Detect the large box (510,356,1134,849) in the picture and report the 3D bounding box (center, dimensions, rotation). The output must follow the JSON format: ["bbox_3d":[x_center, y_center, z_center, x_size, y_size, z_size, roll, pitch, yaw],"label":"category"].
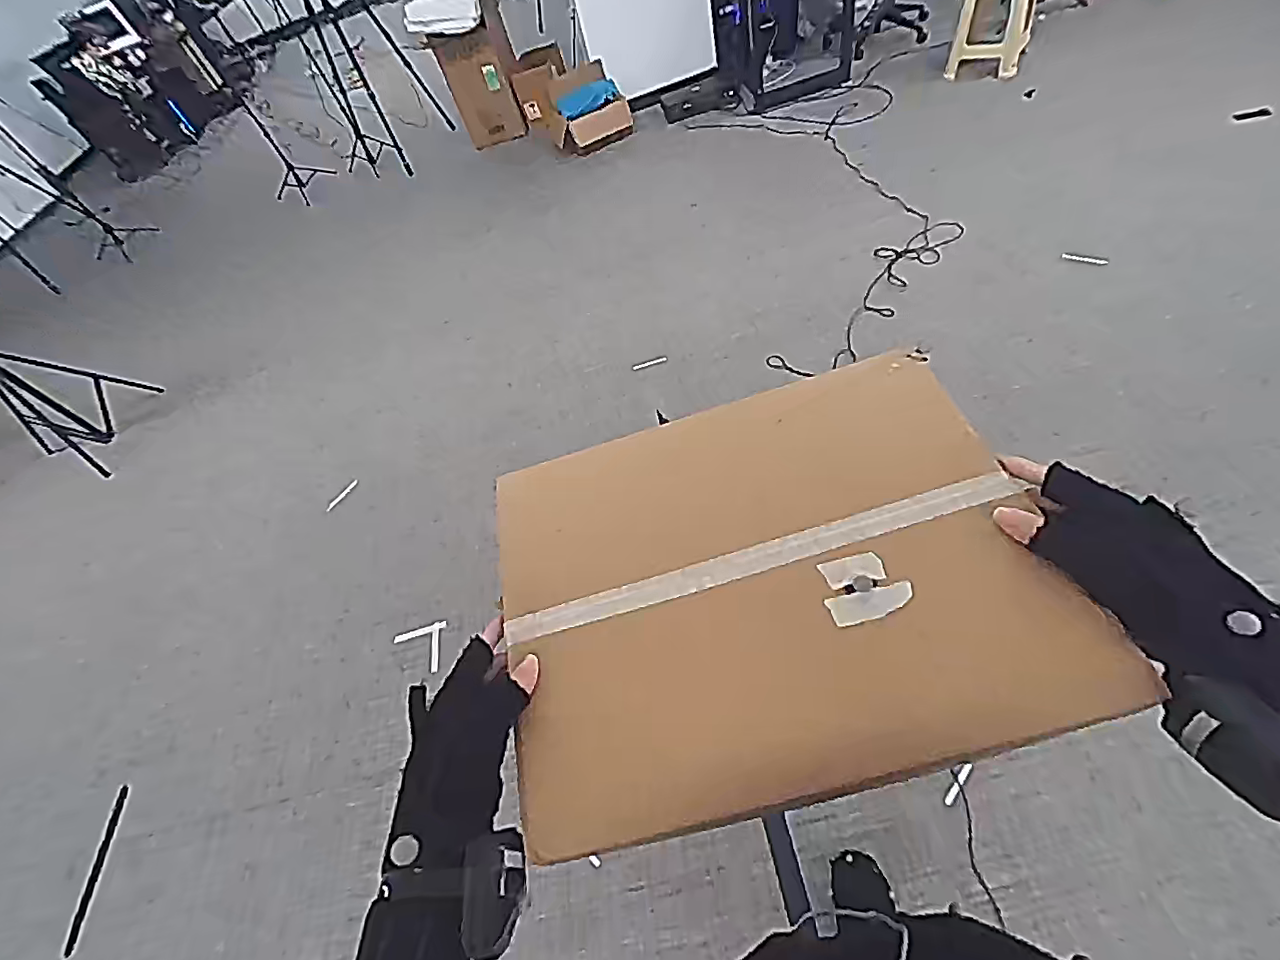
[{"bbox_3d":[0.124,0.142,0.556,0.408,0.320,0.320,-18,57,4],"label":"large box"}]
